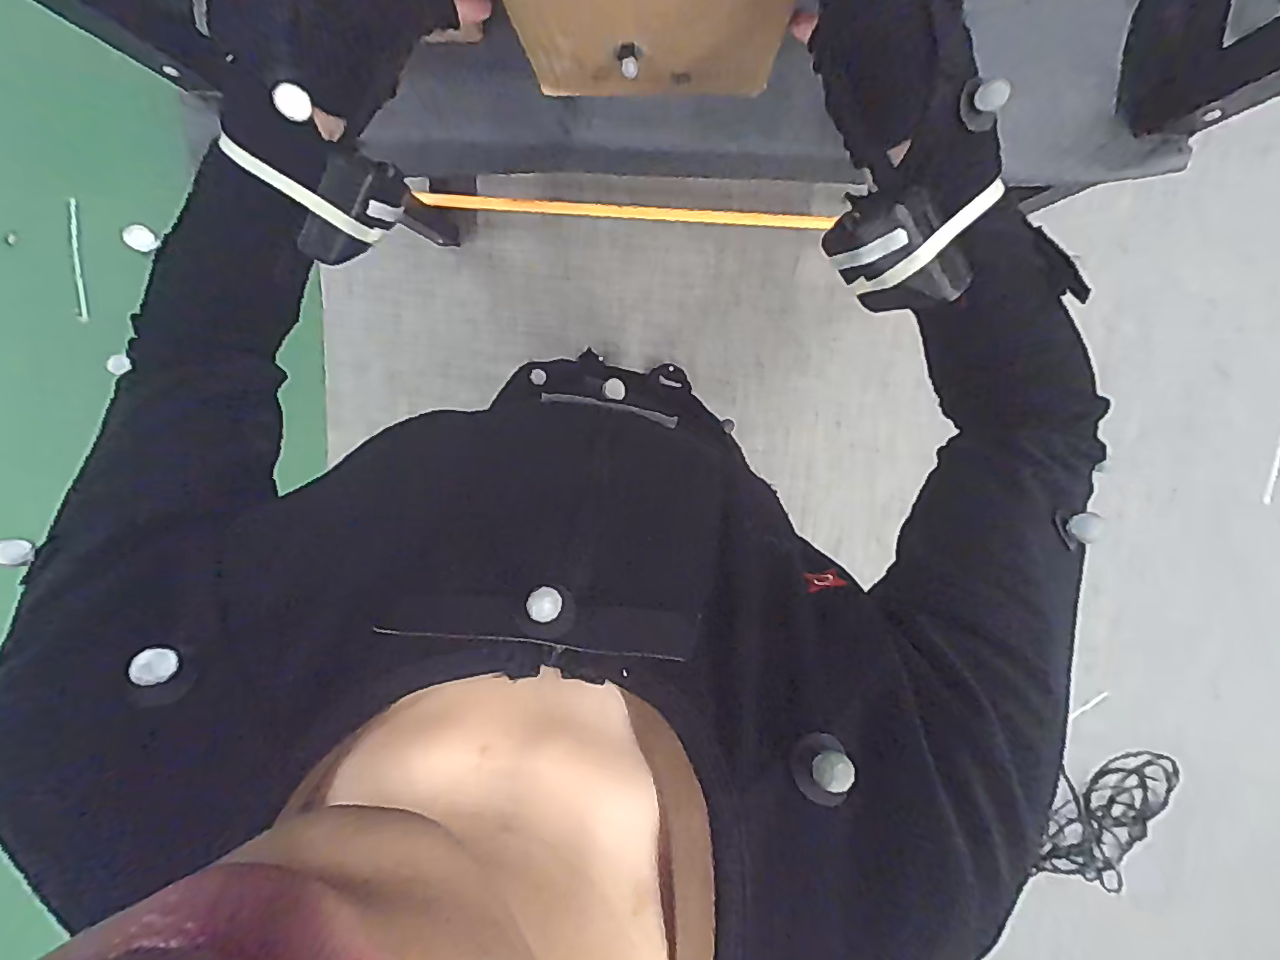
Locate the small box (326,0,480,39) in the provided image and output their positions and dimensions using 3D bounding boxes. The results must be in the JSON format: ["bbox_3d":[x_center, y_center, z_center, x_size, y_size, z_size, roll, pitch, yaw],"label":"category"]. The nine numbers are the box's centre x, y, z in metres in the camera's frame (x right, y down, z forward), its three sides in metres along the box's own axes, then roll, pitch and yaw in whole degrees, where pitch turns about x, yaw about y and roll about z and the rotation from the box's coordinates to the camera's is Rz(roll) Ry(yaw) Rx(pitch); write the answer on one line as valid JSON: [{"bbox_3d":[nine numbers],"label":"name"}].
[{"bbox_3d":[-0.269,-0.599,0.549,0.168,0.176,0.179,2,101,2],"label":"small box"}]
